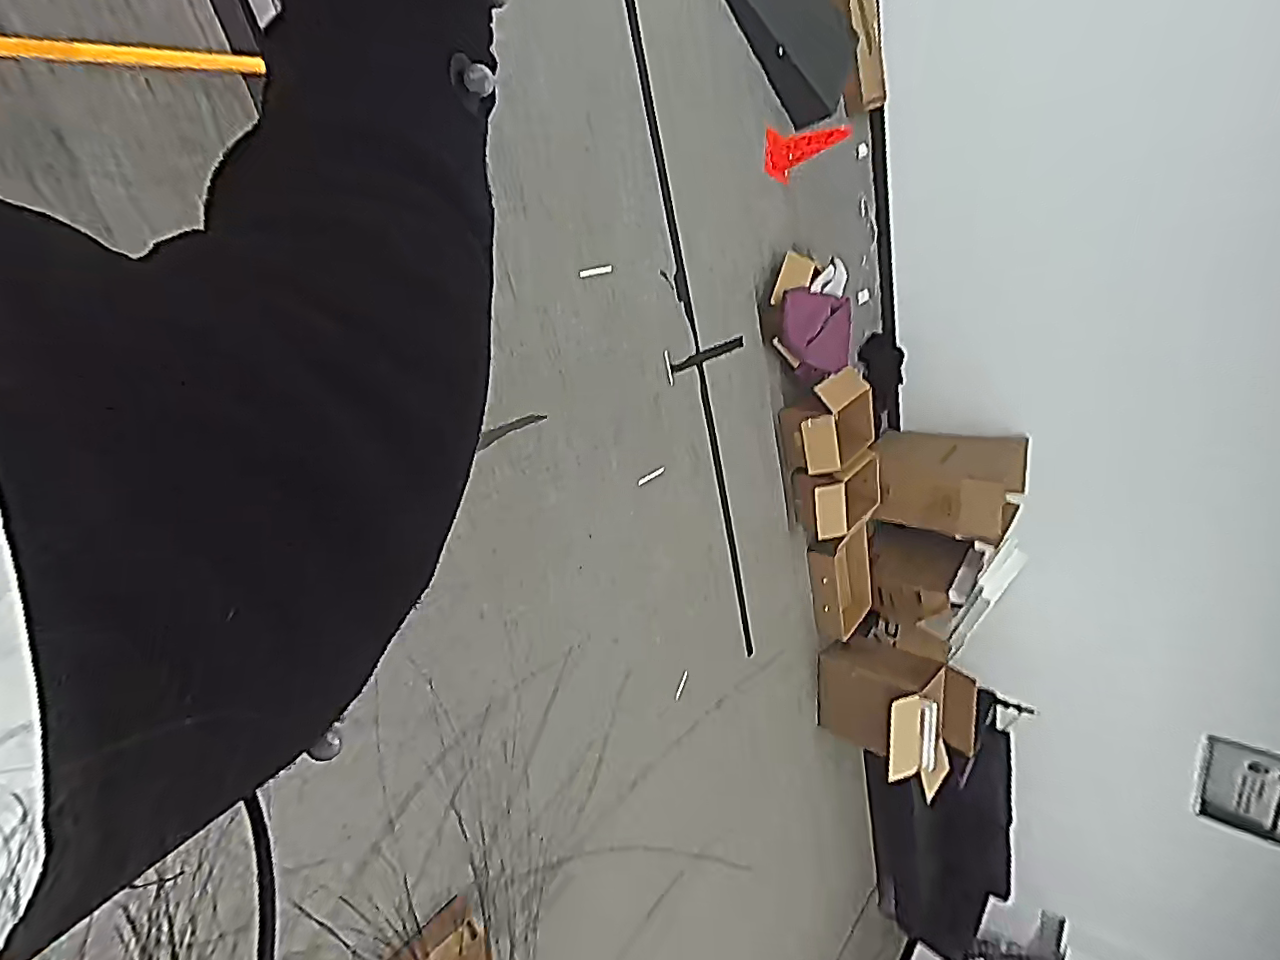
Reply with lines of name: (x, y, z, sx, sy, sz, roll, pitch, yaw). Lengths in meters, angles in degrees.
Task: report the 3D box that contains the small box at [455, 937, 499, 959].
small box: (-0.487, 1.551, 1.634, 0.168, 0.176, 0.179, -31, 117, -37)
